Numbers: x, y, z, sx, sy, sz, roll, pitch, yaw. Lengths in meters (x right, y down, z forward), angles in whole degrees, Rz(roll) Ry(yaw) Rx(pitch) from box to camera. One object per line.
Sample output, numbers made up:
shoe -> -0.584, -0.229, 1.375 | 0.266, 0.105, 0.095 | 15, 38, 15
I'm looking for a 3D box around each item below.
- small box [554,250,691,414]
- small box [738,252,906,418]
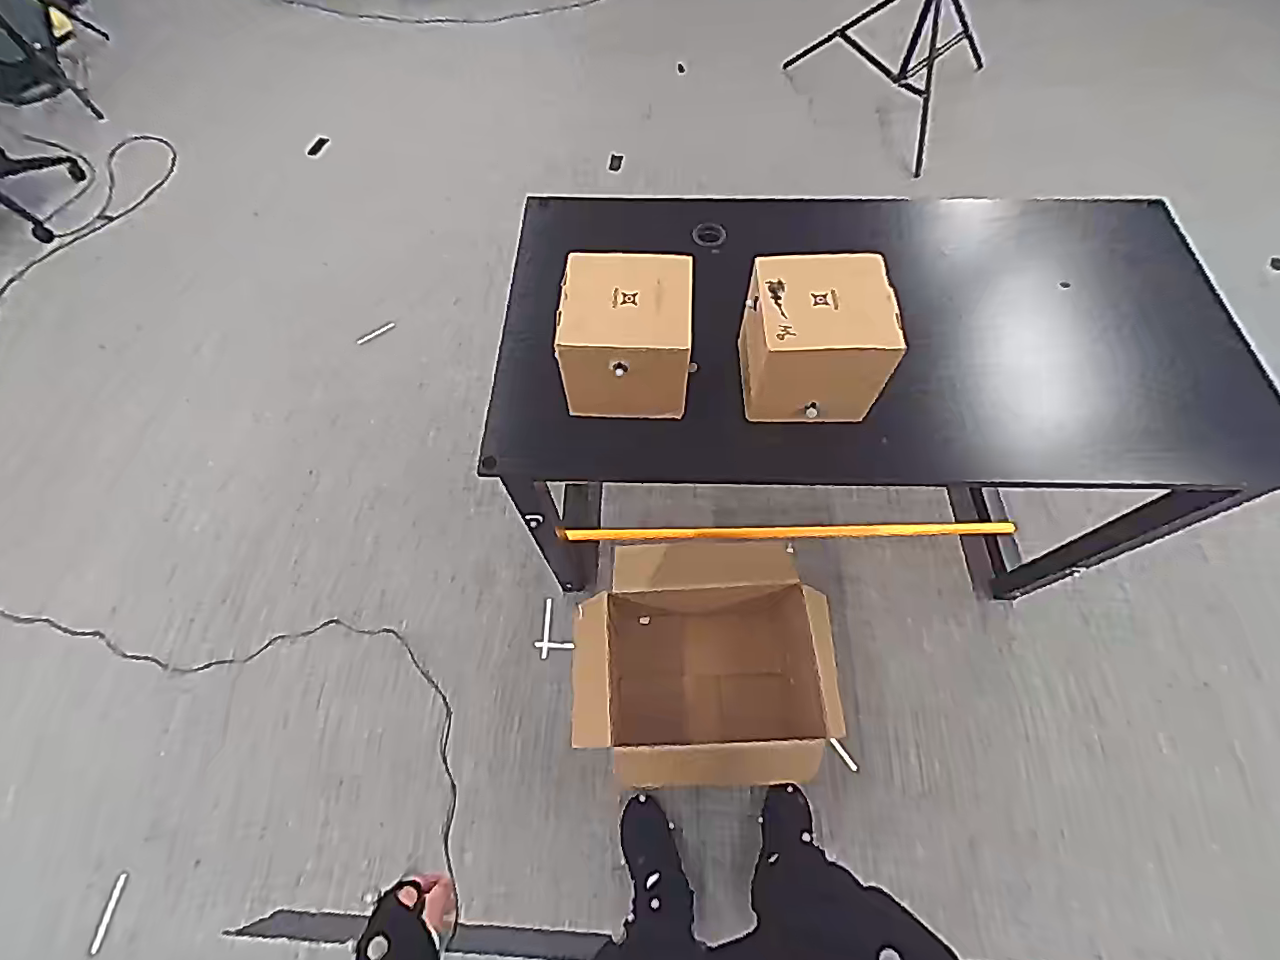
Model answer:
small box -> -0.018, -0.208, 0.785 | 0.179, 0.176, 0.168 | 2, 65, 1
small box -> 0.245, -0.200, 0.777 | 0.179, 0.176, 0.168 | 0, 63, 0
